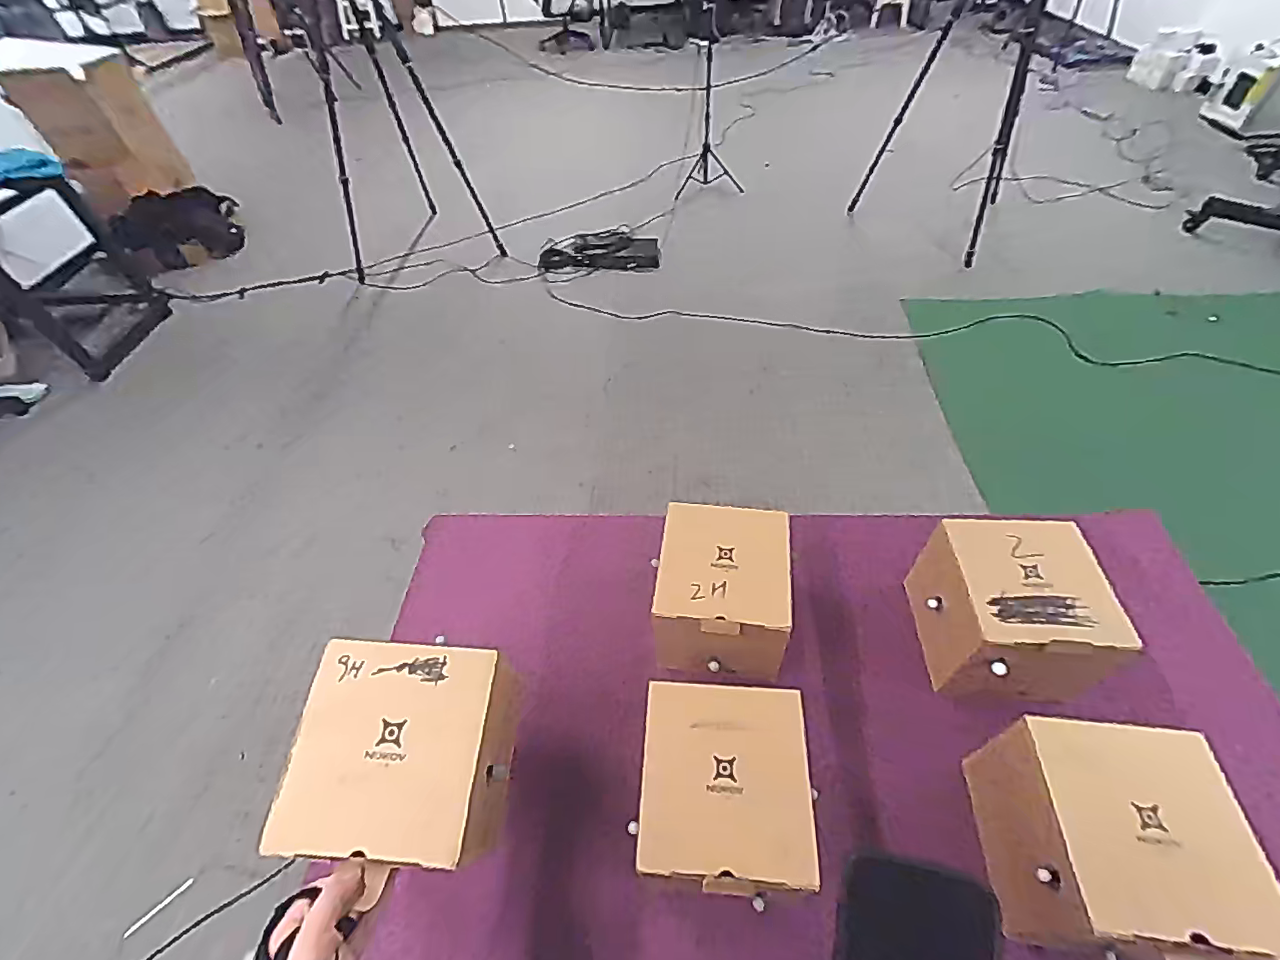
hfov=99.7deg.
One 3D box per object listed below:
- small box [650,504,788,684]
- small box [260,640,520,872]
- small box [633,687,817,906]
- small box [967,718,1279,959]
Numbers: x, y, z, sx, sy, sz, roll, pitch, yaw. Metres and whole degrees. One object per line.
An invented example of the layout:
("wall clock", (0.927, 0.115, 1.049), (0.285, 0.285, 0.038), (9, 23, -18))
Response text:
("small box", (0.109, 0.158, 0.751), (0.168, 0.176, 0.179), (5, 50, 9))
("small box", (-0.225, 0.272, 0.547), (0.168, 0.176, 0.179), (4, 61, 0))
("small box", (0.086, 0.348, 0.591), (0.168, 0.176, 0.179), (1, 48, 5))
("small box", (0.462, 0.365, 0.545), (0.168, 0.176, 0.179), (3, 50, 8))
